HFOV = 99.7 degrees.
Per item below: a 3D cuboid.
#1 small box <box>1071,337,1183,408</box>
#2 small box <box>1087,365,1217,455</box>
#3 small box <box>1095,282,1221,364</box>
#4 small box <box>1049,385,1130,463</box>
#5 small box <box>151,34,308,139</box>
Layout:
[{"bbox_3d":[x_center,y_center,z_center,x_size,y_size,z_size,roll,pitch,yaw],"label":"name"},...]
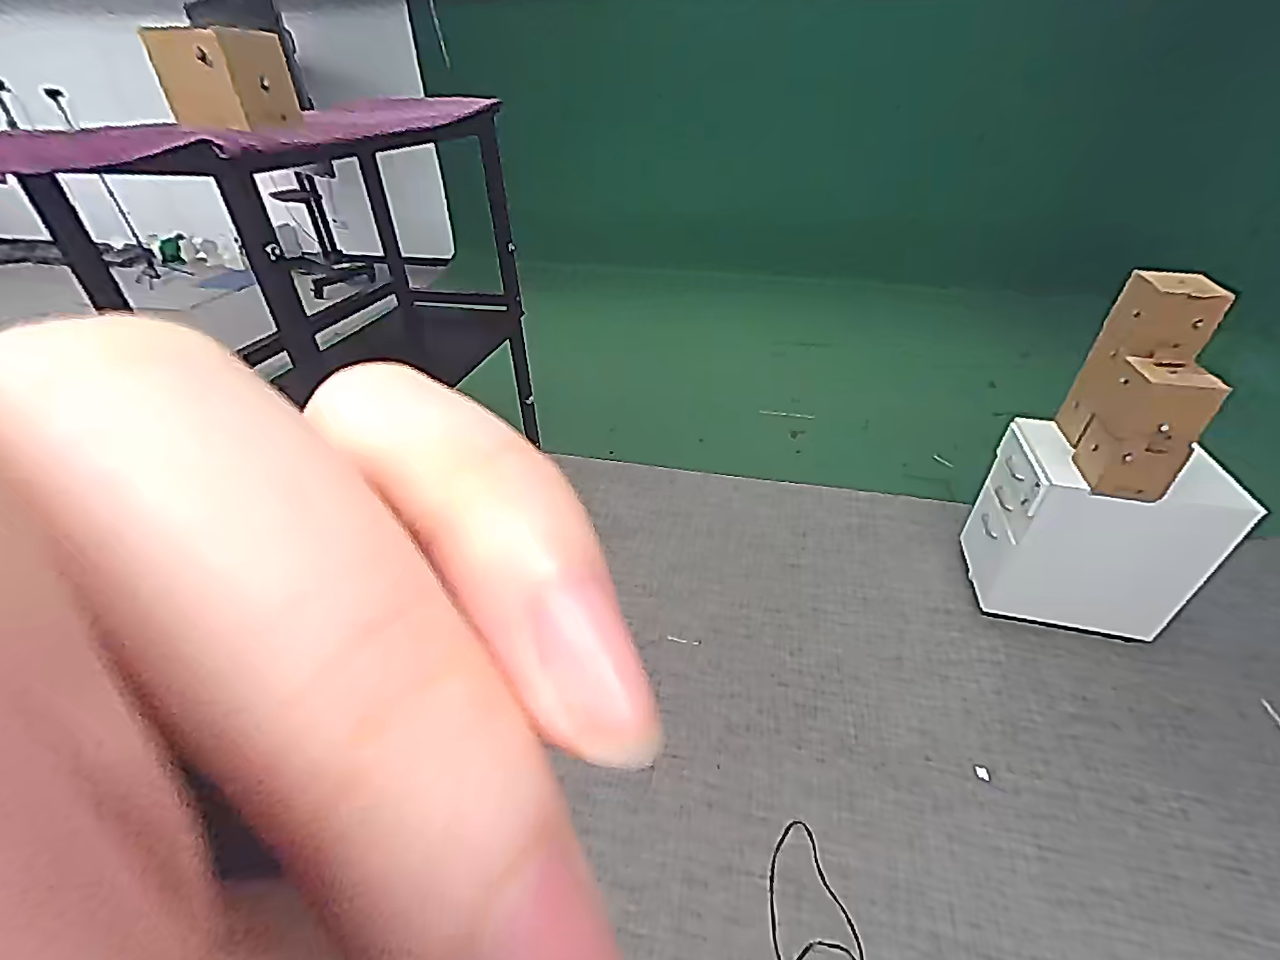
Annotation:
[{"bbox_3d":[1.437,-0.310,1.613,0.168,0.176,0.179,9,39,12],"label":"small box"},{"bbox_3d":[1.348,-0.189,1.442,0.168,0.176,0.179,9,36,12],"label":"small box"},{"bbox_3d":[1.435,-0.439,1.513,0.168,0.176,0.179,10,38,10],"label":"small box"},{"bbox_3d":[1.441,-0.178,1.710,0.168,0.176,0.179,8,38,11],"label":"small box"},{"bbox_3d":[-0.853,-0.831,1.147,0.179,0.176,0.168,7,35,9],"label":"small box"}]
